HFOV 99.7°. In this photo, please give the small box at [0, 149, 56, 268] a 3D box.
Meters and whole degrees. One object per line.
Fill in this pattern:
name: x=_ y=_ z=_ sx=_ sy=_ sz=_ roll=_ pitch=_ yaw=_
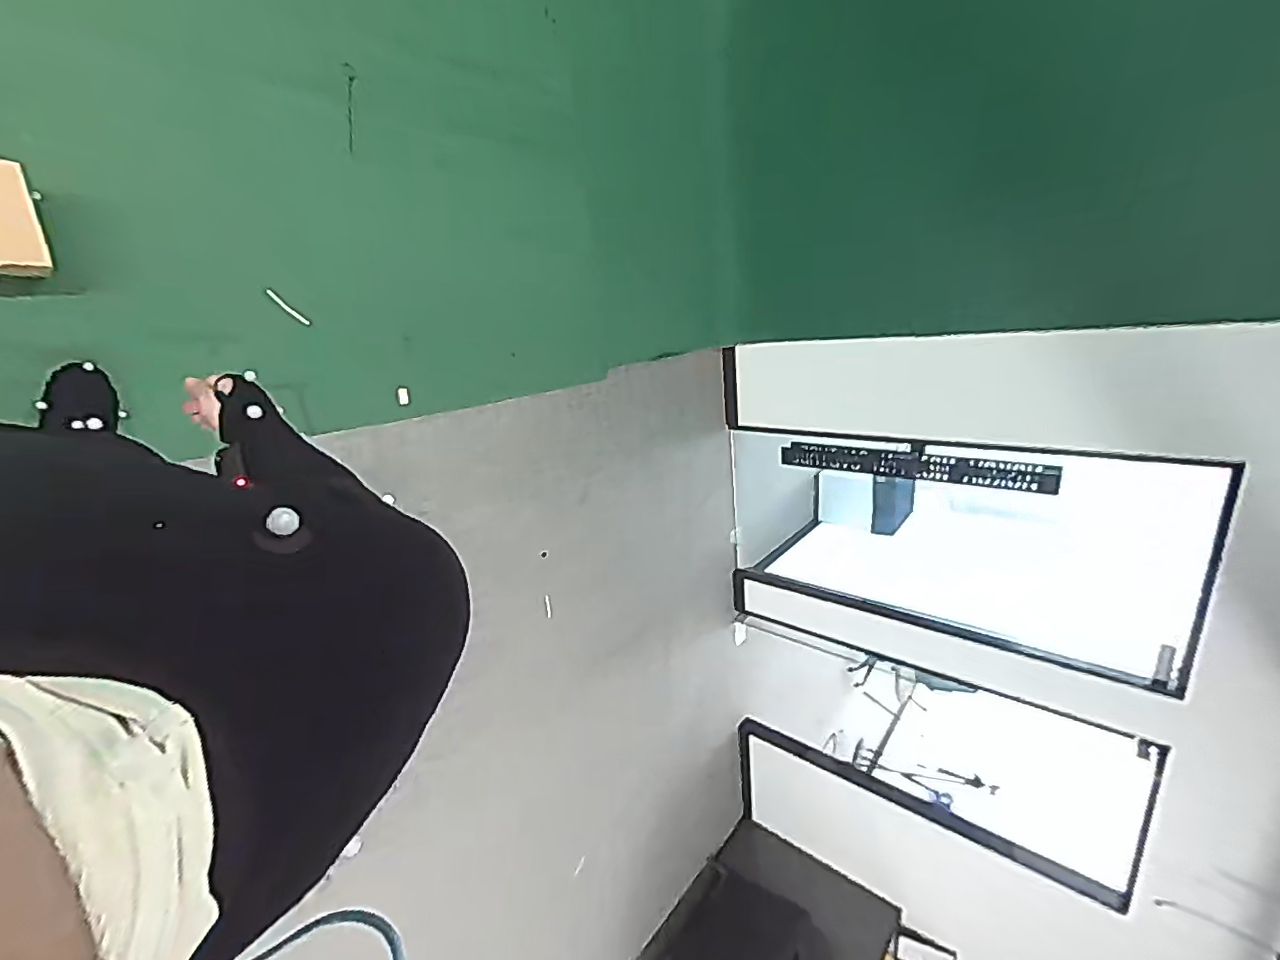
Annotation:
small box: x=-1.193 y=-0.484 z=0.963 sx=0.168 sy=0.176 sz=0.179 roll=-21 pitch=114 yaw=-46
